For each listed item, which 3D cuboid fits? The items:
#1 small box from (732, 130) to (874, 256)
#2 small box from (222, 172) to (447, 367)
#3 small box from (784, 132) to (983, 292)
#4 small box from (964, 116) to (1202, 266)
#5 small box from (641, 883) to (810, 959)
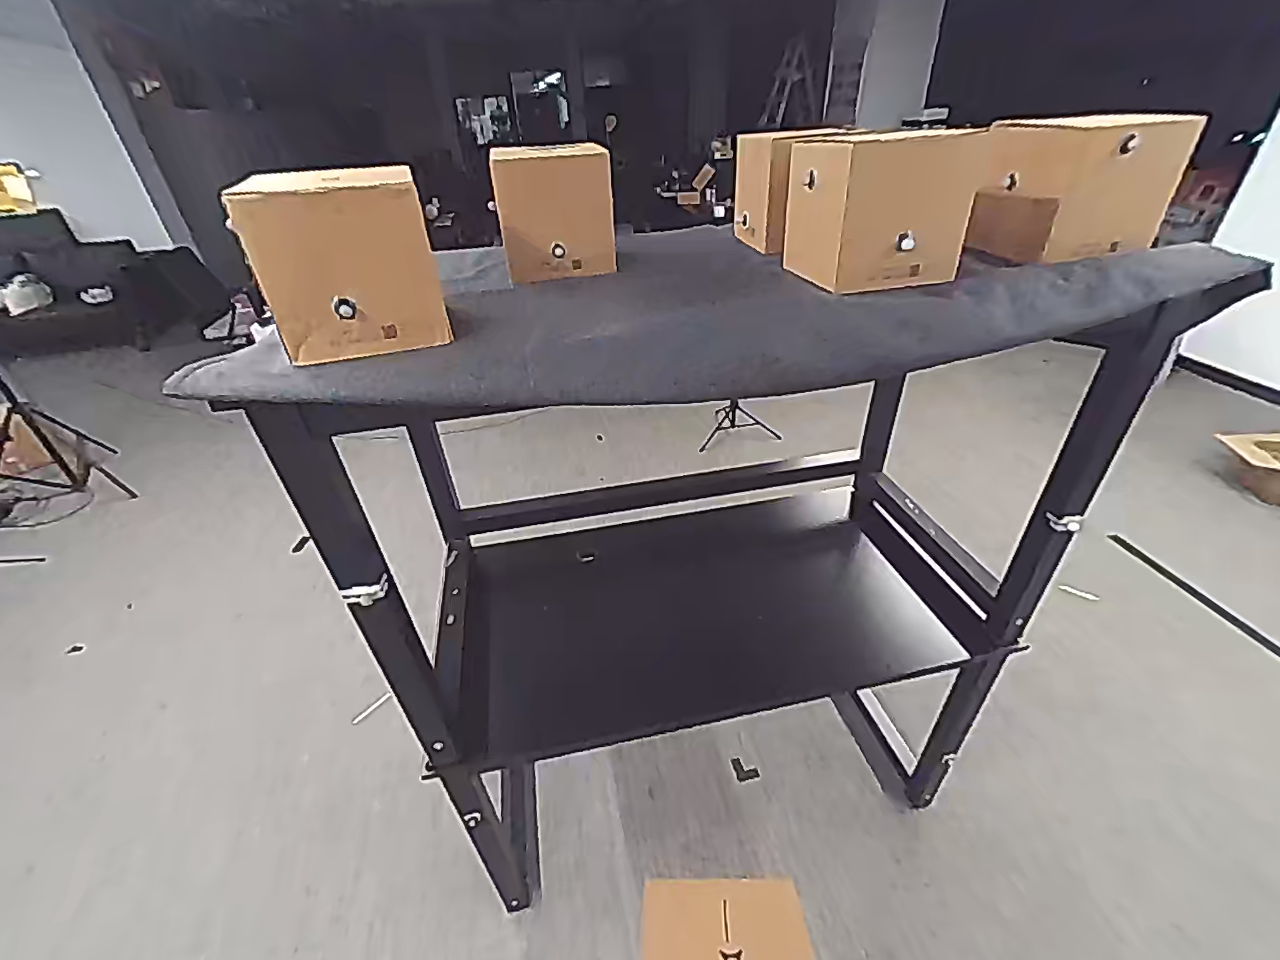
[{"bbox_3d":[0.266,-0.493,0.925,0.179,0.176,0.168,-8,34,-6],"label":"small box"},{"bbox_3d":[-0.326,-0.244,0.616,0.168,0.176,0.179,-14,37,-16],"label":"small box"},{"bbox_3d":[0.302,-0.356,0.718,0.168,0.176,0.179,-9,33,-6],"label":"small box"},{"bbox_3d":[0.602,-0.409,0.768,0.168,0.176,0.179,-8,34,-4],"label":"small box"},{"bbox_3d":[0.085,0.548,0.541,0.168,0.176,0.179,1,22,-1],"label":"small box"}]
